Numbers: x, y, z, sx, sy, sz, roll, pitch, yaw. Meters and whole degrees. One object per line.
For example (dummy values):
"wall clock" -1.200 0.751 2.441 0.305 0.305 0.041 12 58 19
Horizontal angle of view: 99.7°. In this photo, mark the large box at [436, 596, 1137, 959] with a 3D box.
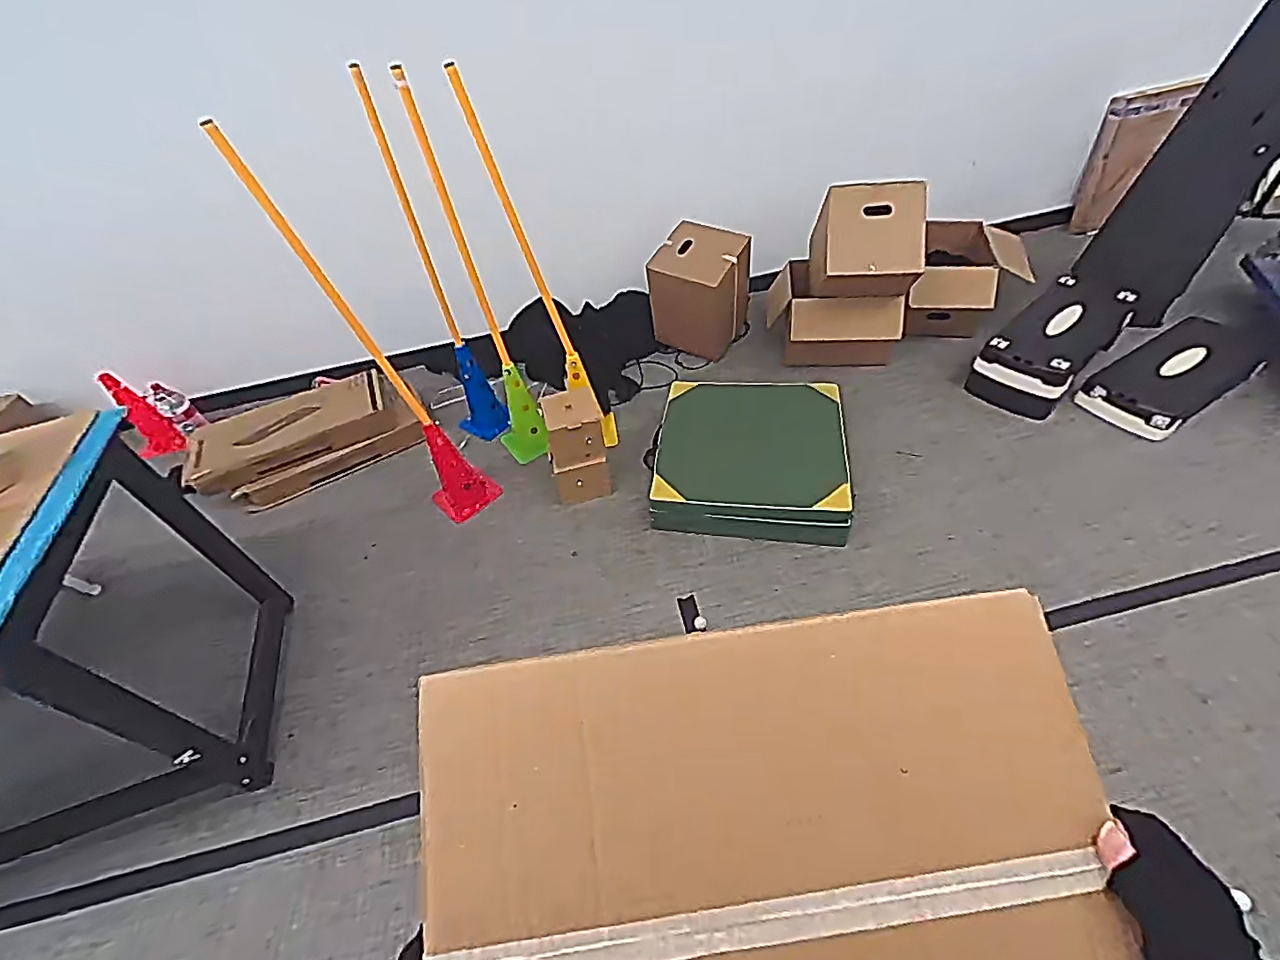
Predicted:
"large box" 0.088 0.297 0.465 0.408 0.320 0.320 -9 73 -2
